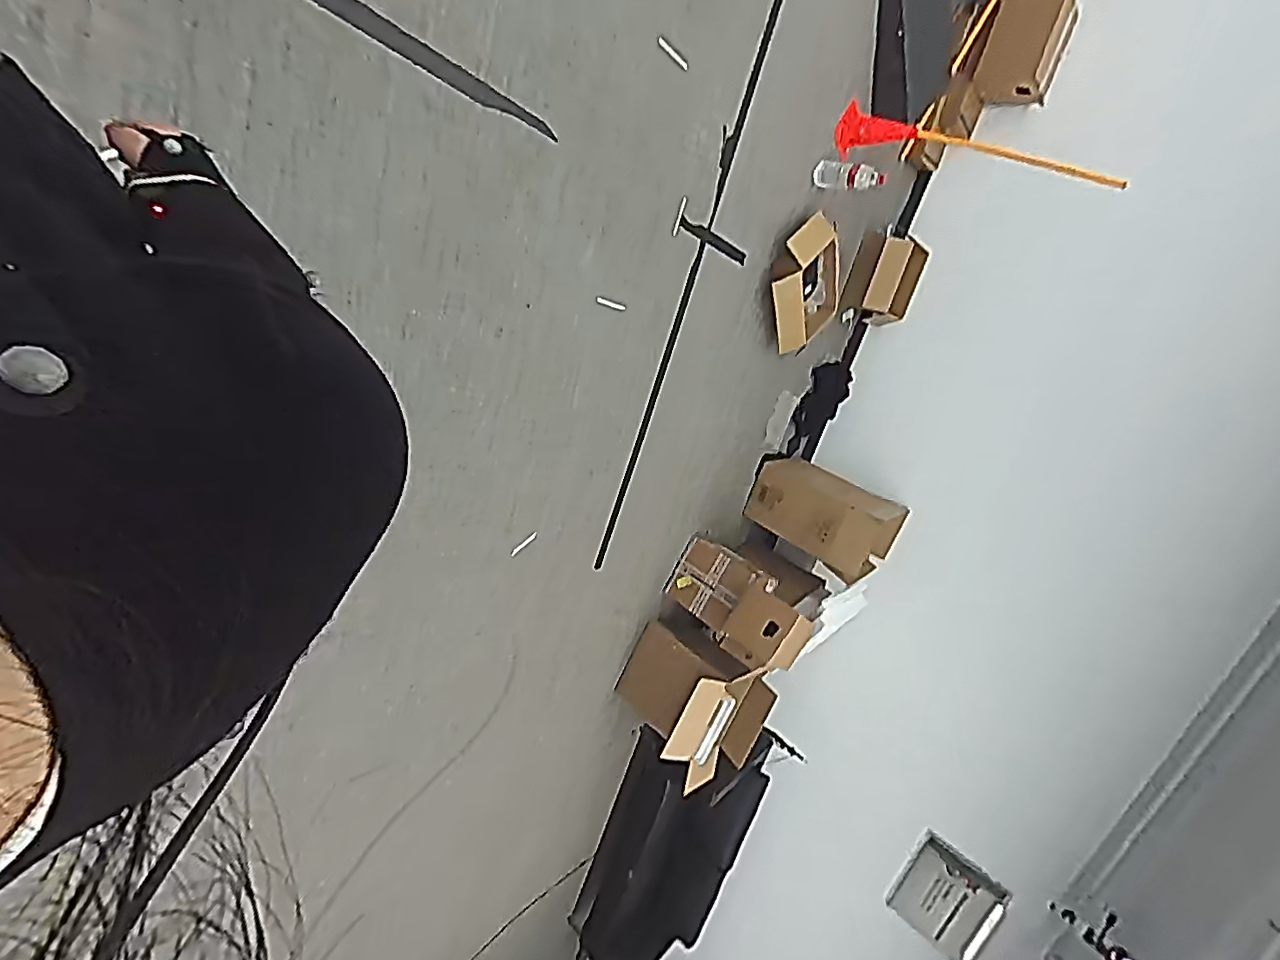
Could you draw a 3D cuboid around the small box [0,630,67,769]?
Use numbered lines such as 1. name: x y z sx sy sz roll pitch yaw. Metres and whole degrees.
1. small box: -1.184 0.411 0.992 0.168 0.176 0.179 -9 122 -48
